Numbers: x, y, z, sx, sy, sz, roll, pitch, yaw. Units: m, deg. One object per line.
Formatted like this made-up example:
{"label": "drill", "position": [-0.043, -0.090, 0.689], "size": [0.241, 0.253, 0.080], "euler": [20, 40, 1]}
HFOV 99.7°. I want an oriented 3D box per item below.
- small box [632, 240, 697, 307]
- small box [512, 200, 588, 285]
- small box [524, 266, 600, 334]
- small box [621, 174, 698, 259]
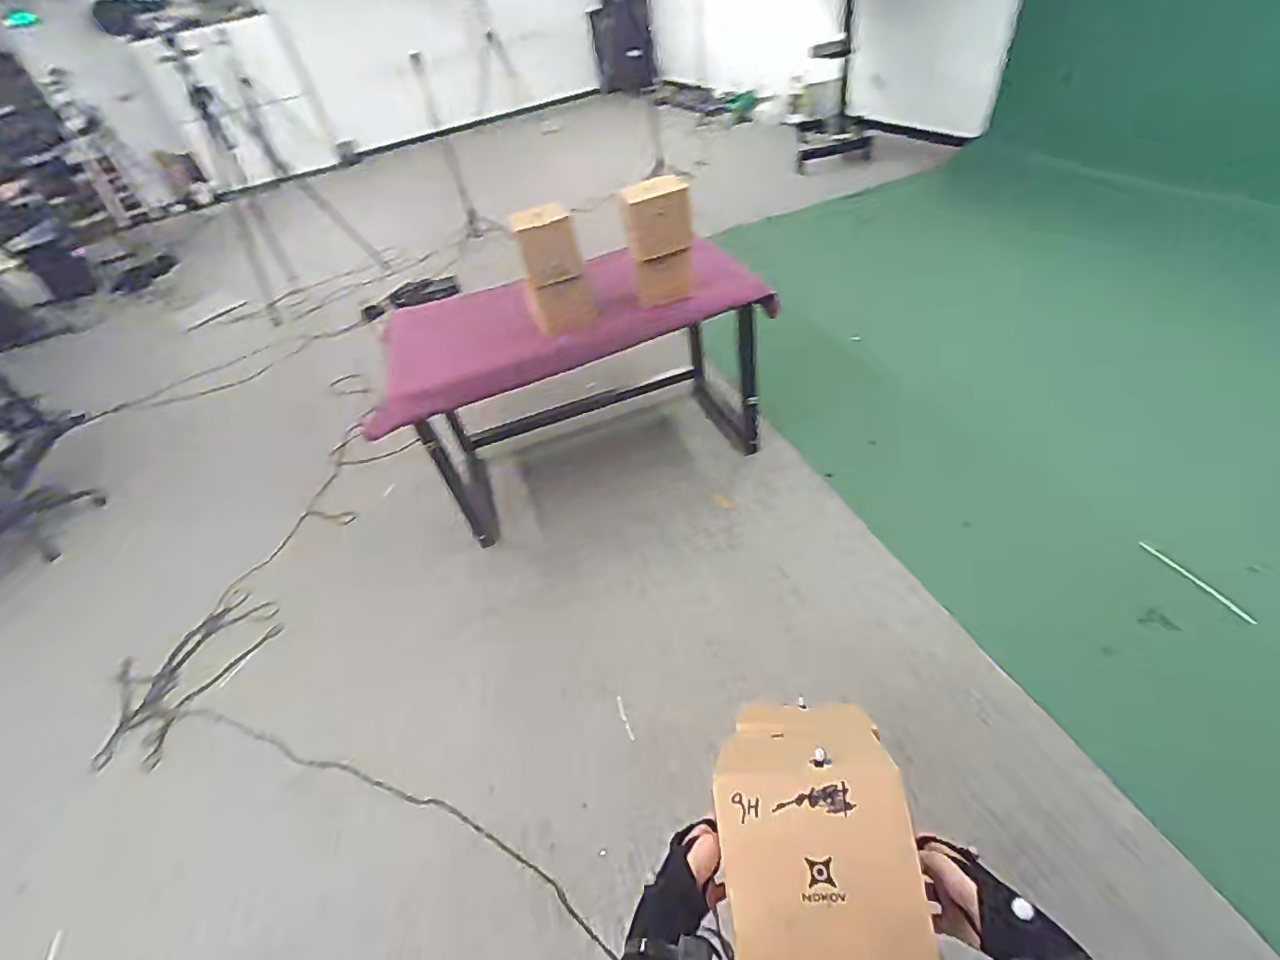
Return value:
{"label": "small box", "position": [0.082, -0.680, 1.734], "size": [0.179, 0.176, 0.168], "euler": [-14, 42, 1]}
{"label": "small box", "position": [-0.265, -0.701, 1.600], "size": [0.168, 0.176, 0.179], "euler": [-19, 44, -6]}
{"label": "small box", "position": [-0.245, -0.587, 1.717], "size": [0.179, 0.176, 0.168], "euler": [-23, 44, -12]}
{"label": "small box", "position": [0.060, -0.778, 1.602], "size": [0.179, 0.176, 0.168], "euler": [-18, 43, -3]}
